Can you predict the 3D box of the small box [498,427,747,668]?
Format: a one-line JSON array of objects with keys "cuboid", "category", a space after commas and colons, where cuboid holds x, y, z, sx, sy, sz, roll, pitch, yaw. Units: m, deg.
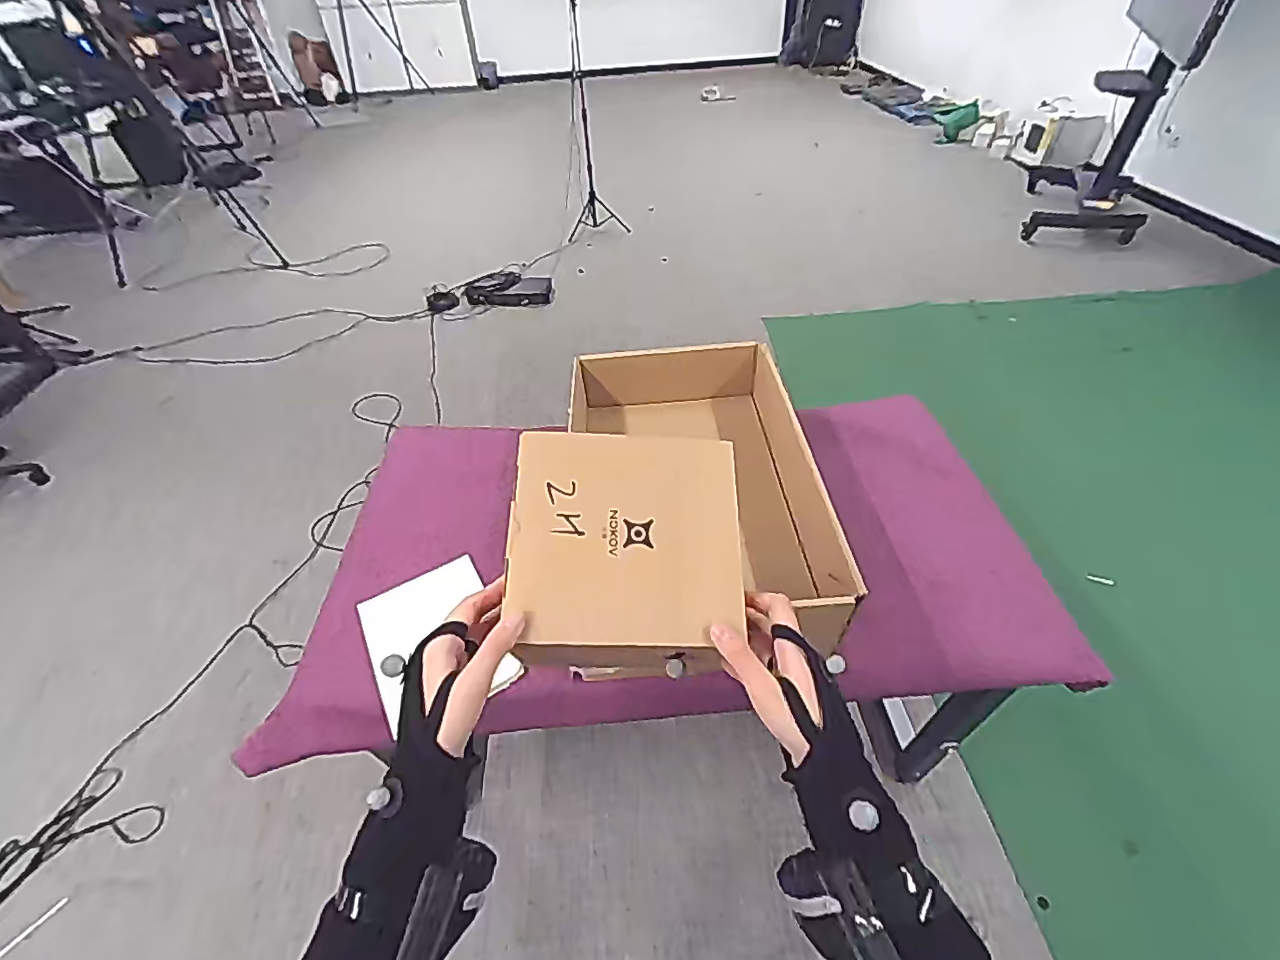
[{"cuboid": [-0.016, 0.070, 0.477, 0.179, 0.176, 0.168, 3, 65, -4], "category": "small box"}]
